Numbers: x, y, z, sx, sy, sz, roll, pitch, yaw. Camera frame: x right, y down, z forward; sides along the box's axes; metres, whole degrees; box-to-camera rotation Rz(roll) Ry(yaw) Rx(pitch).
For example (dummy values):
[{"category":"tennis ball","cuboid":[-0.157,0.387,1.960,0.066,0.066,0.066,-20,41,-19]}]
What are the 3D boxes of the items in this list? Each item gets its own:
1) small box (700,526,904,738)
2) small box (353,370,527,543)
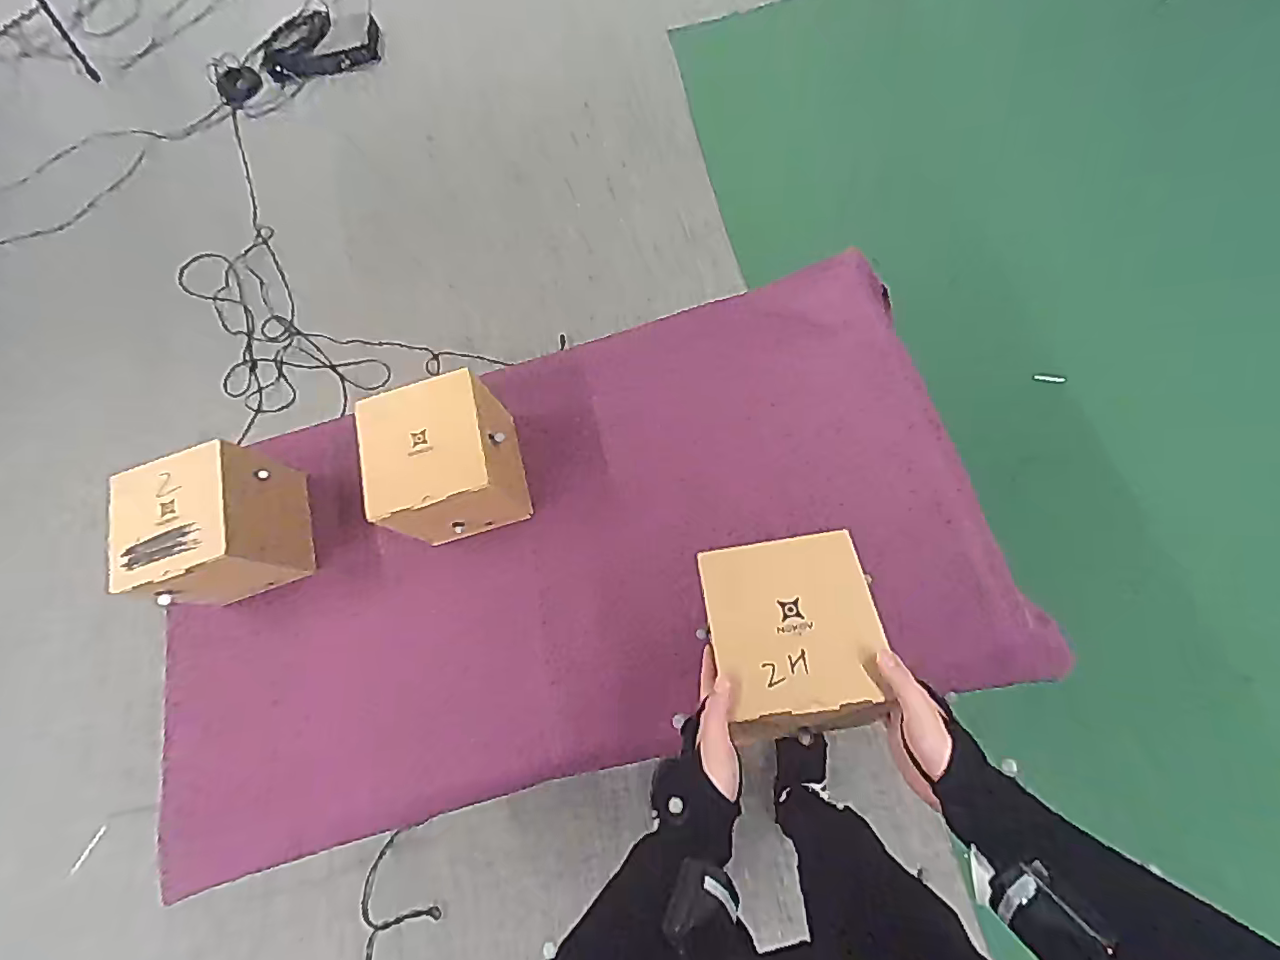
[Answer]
[{"category":"small box","cuboid":[0.163,0.175,0.603,0.168,0.176,0.179,-10,58,6]},{"category":"small box","cuboid":[-0.277,-0.024,0.773,0.168,0.176,0.179,-17,73,3]}]
